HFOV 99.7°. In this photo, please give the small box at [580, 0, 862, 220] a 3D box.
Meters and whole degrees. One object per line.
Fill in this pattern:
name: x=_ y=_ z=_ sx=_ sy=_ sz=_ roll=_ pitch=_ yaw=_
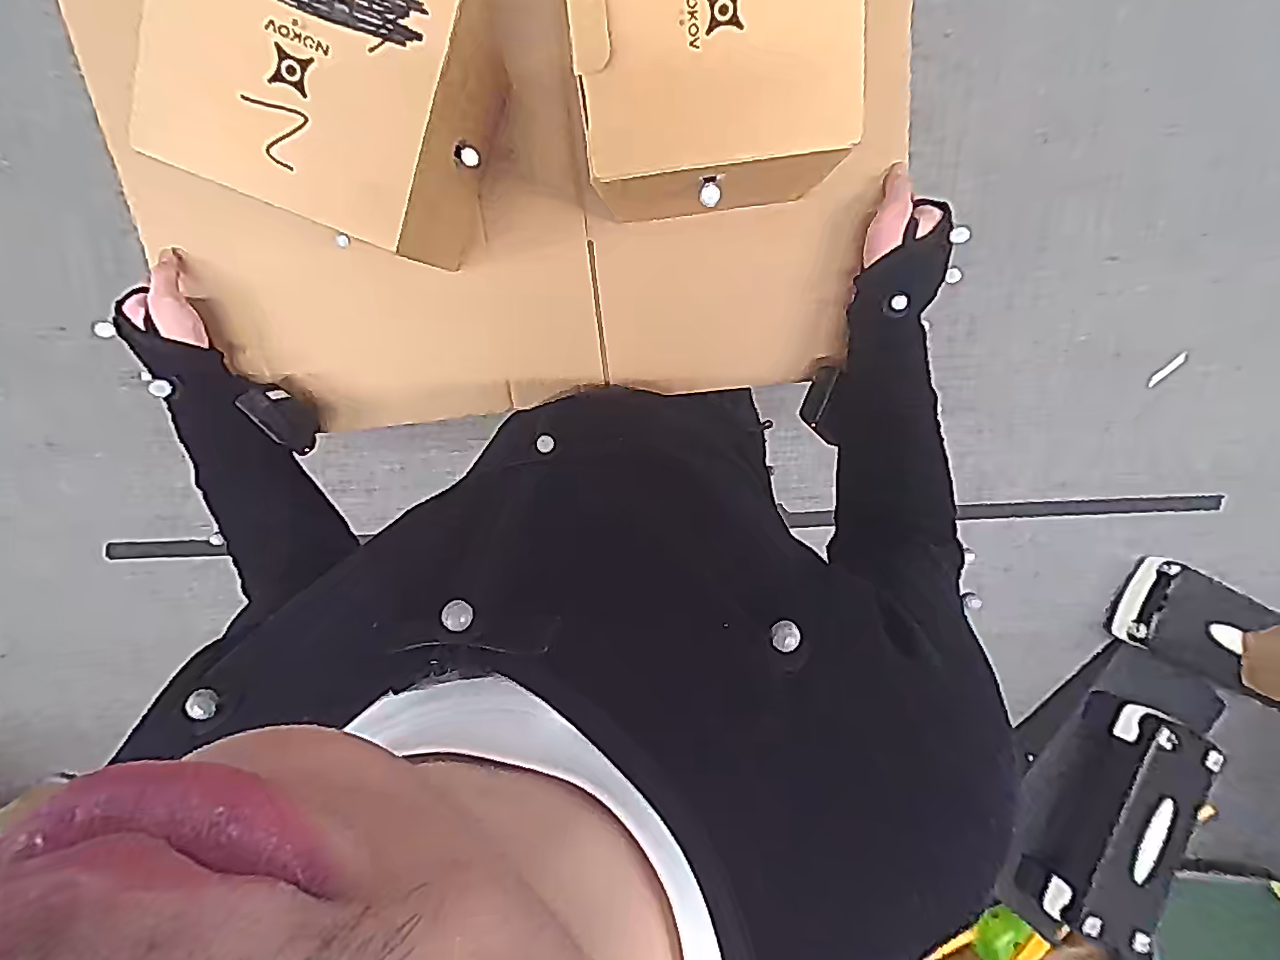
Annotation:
small box: x=0.056 y=-0.310 z=0.417 sx=0.179 sy=0.176 sz=0.168 roll=-5 pitch=107 yaw=6
